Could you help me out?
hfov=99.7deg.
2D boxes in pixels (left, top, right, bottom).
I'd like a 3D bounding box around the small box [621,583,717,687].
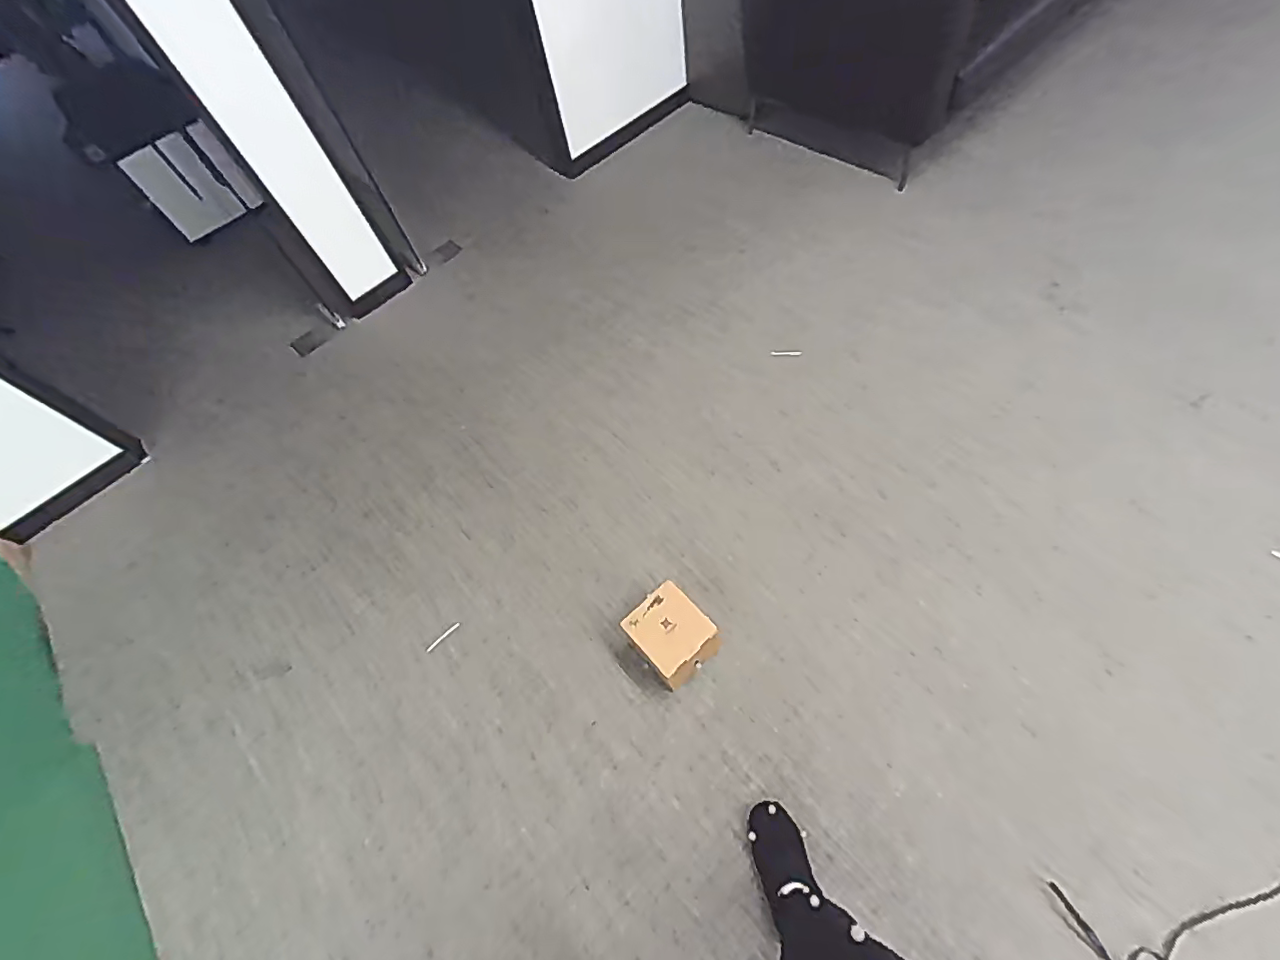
[{"bbox_3d":[0.079,0.394,1.346,0.168,0.176,0.179,-39,61,-14],"label":"small box"}]
